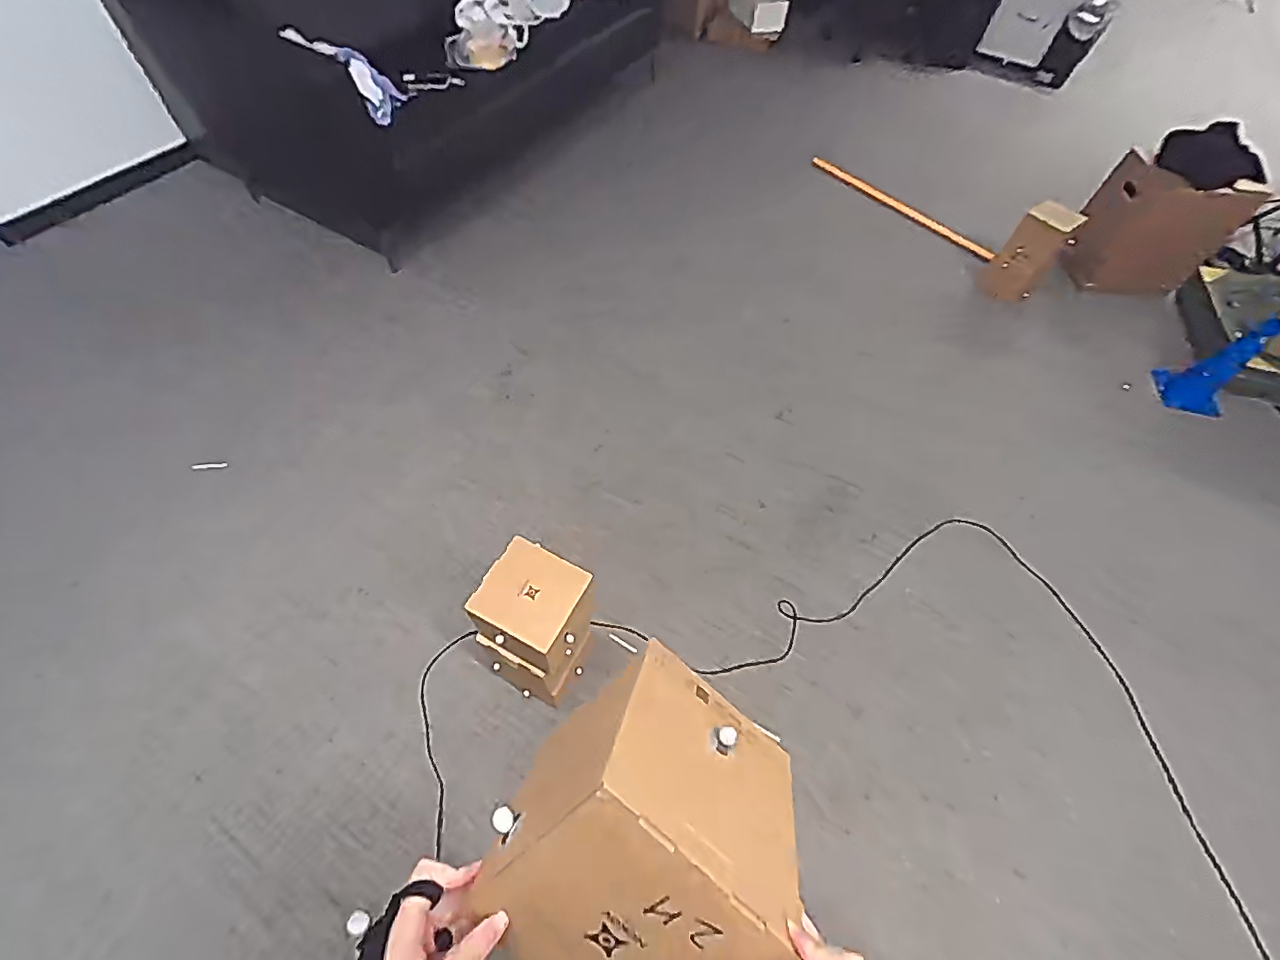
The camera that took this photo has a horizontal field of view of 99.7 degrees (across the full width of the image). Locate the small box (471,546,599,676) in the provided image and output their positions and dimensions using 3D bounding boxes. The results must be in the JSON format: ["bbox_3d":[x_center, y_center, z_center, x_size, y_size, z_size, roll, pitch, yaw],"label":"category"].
[{"bbox_3d":[-0.192,0.262,1.053,0.179,0.176,0.168,24,59,14],"label":"small box"}]

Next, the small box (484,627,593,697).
[{"bbox_3d":[-0.211,0.351,1.190,0.168,0.176,0.179,24,59,13],"label":"small box"}]
